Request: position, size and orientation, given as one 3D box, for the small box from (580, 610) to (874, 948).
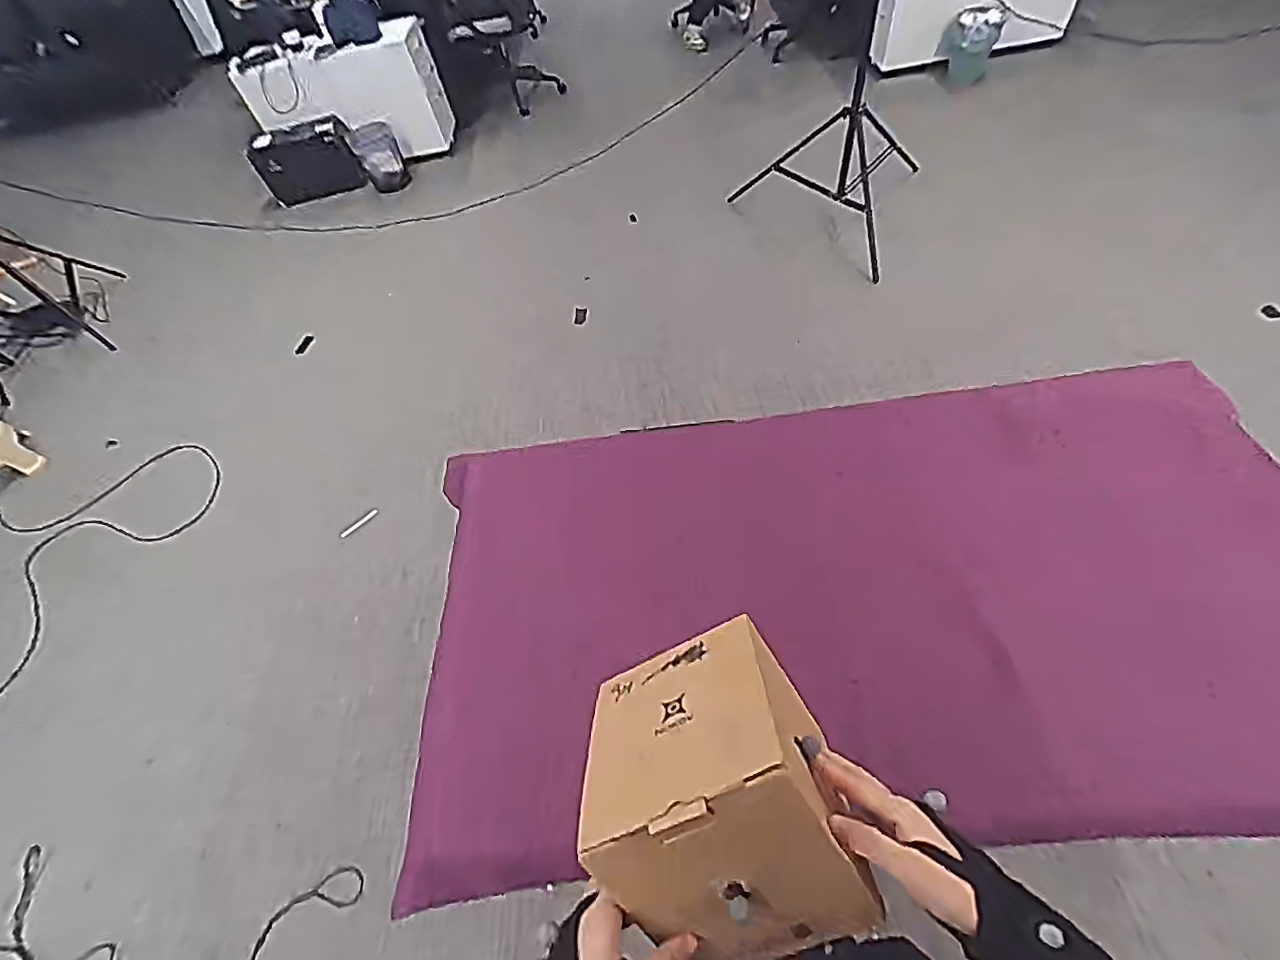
[{"bbox_3d":[0.071,0.255,0.468,0.168,0.176,0.179,-30,16,12],"label":"small box"}]
